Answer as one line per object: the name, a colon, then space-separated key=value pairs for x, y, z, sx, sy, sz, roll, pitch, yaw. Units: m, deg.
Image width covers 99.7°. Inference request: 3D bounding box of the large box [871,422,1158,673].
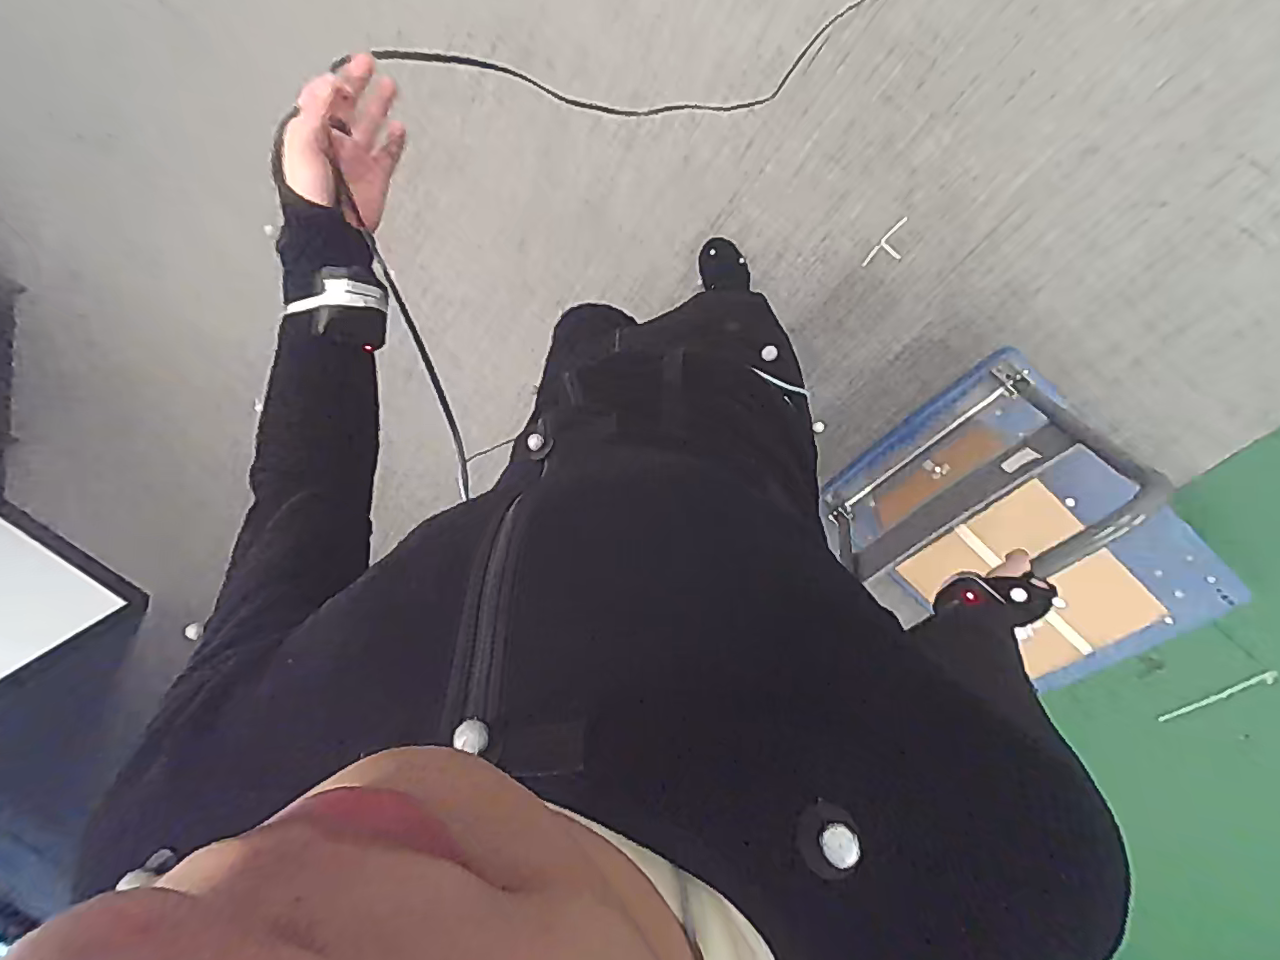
large box: x=0.803 y=0.142 z=1.229 sx=0.408 sy=0.320 sz=0.320 roll=42 pitch=119 yaw=-8
